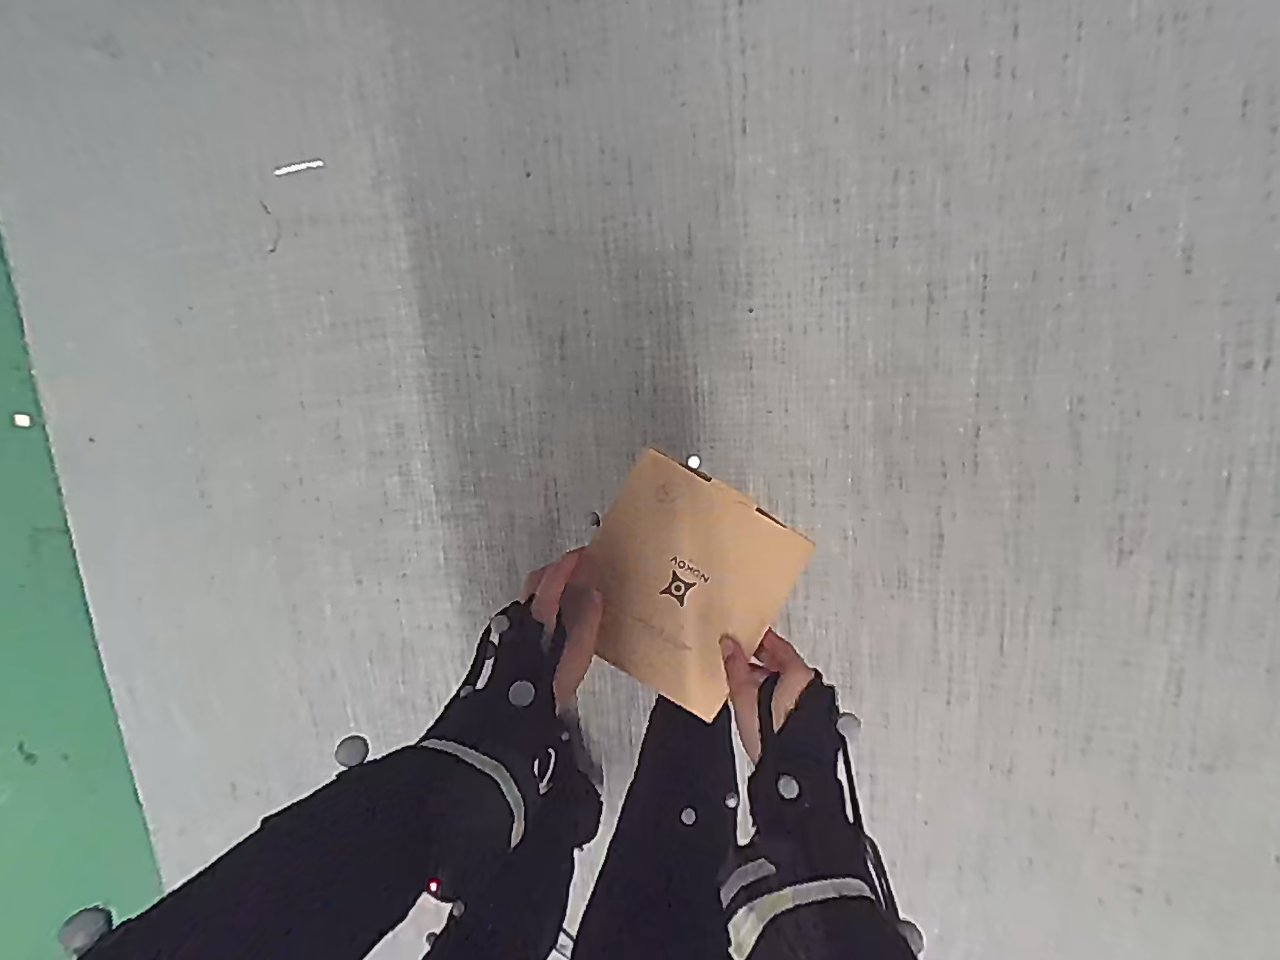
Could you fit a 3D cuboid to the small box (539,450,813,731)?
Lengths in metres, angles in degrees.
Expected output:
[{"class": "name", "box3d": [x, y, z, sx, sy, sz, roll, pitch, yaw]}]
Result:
[{"class": "small box", "box3d": [0.027, 0.088, 0.515, 0.168, 0.176, 0.179, 31, 91, 0]}]
